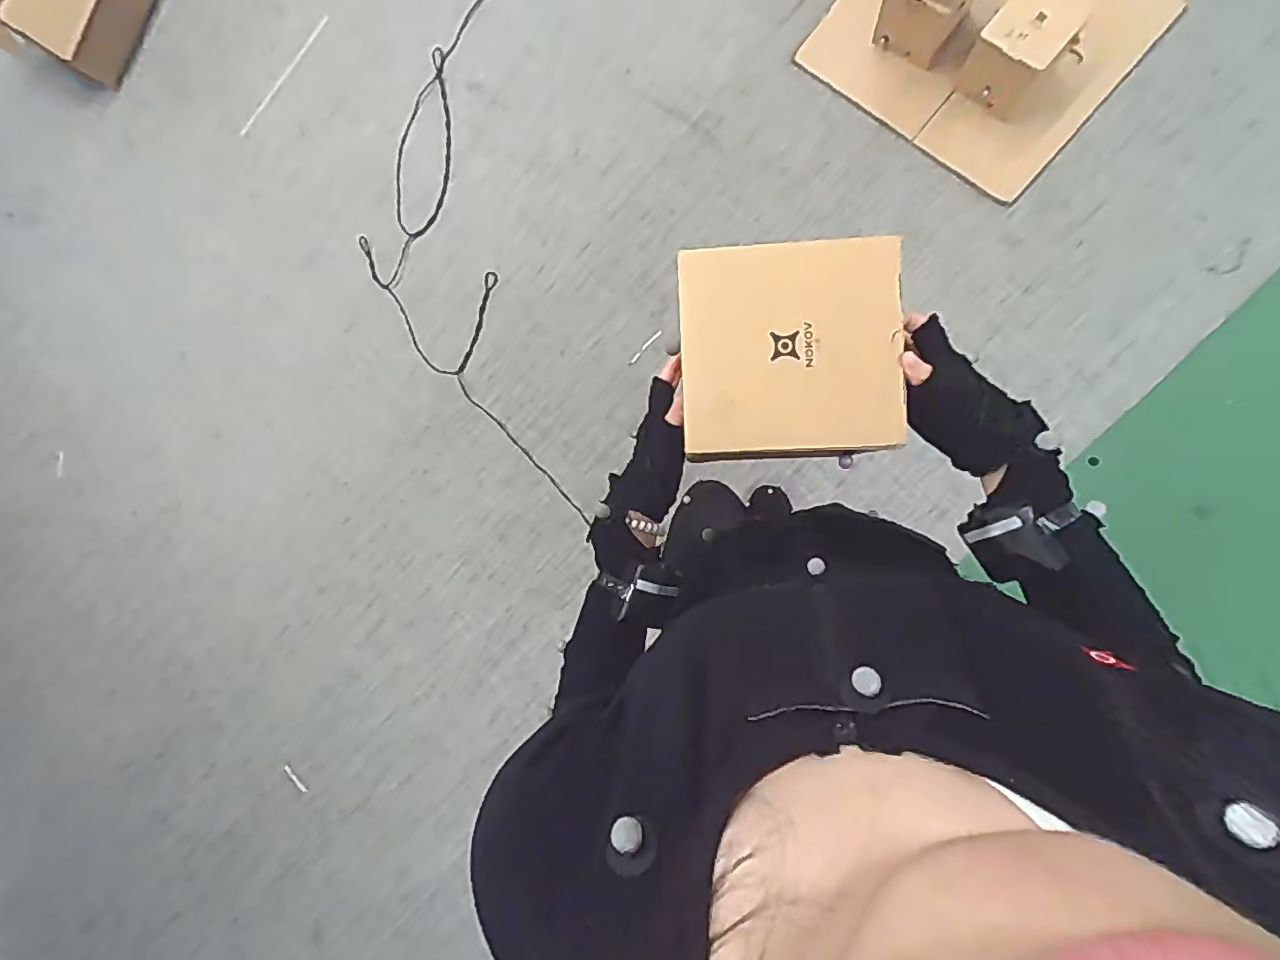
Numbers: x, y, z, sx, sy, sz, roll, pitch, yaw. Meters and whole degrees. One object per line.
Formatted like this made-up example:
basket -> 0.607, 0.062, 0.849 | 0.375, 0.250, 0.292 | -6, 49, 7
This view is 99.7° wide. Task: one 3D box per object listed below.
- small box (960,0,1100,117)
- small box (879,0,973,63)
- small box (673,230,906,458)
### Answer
small box -> 0.897, -1.016, 1.268 | 0.168, 0.176, 0.179 | 42, 97, 10
small box -> 0.705, -1.173, 1.307 | 0.168, 0.176, 0.179 | 37, 96, 10
small box -> 0.123, -0.109, 0.504 | 0.179, 0.176, 0.168 | -2, 89, 4
